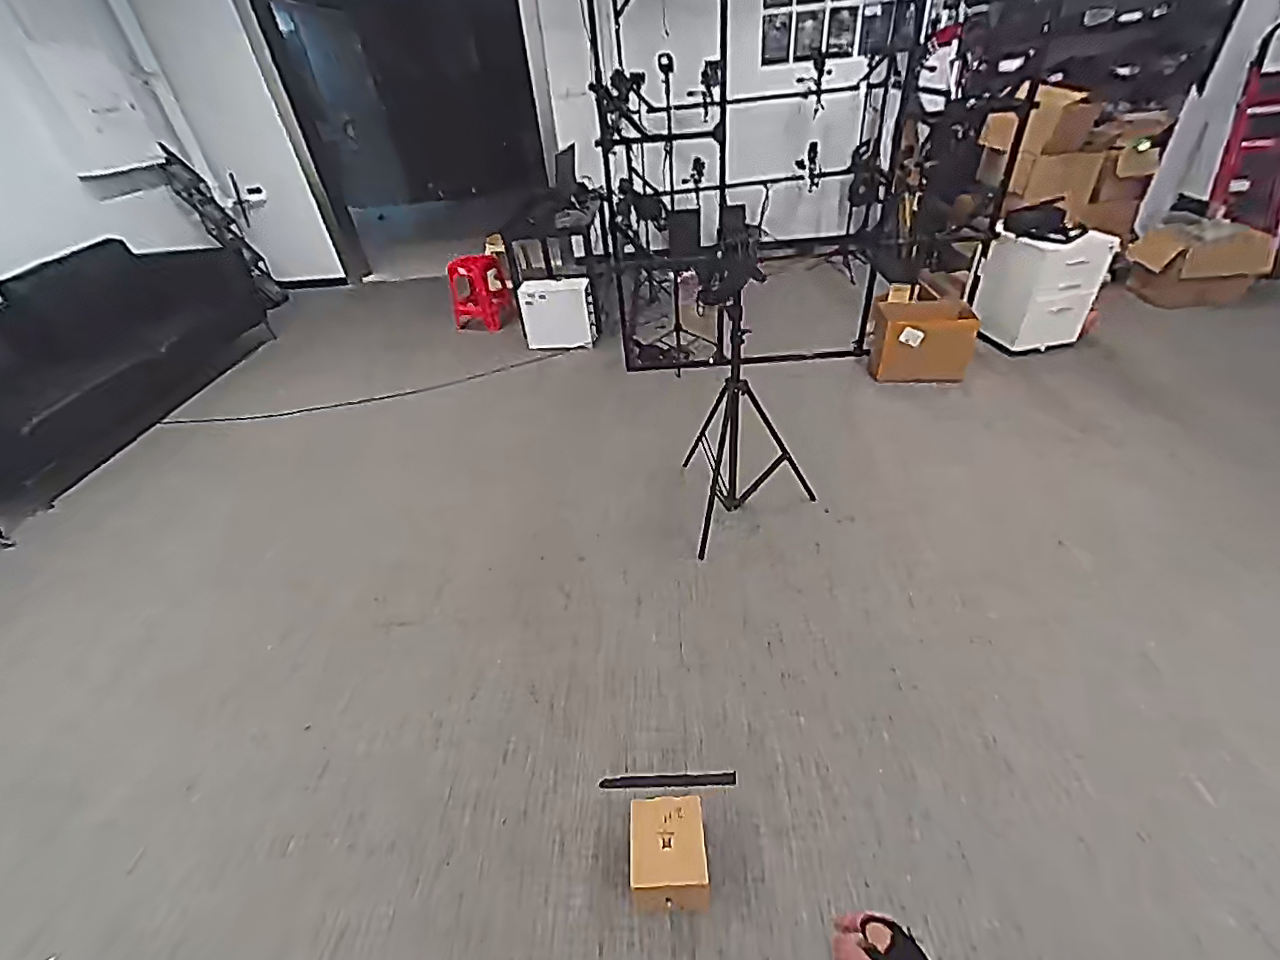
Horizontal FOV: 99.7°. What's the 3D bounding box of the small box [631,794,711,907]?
[{"bbox_3d":[0.070,0.850,1.236,0.168,0.176,0.179,-5,37,2],"label":"small box"}]
